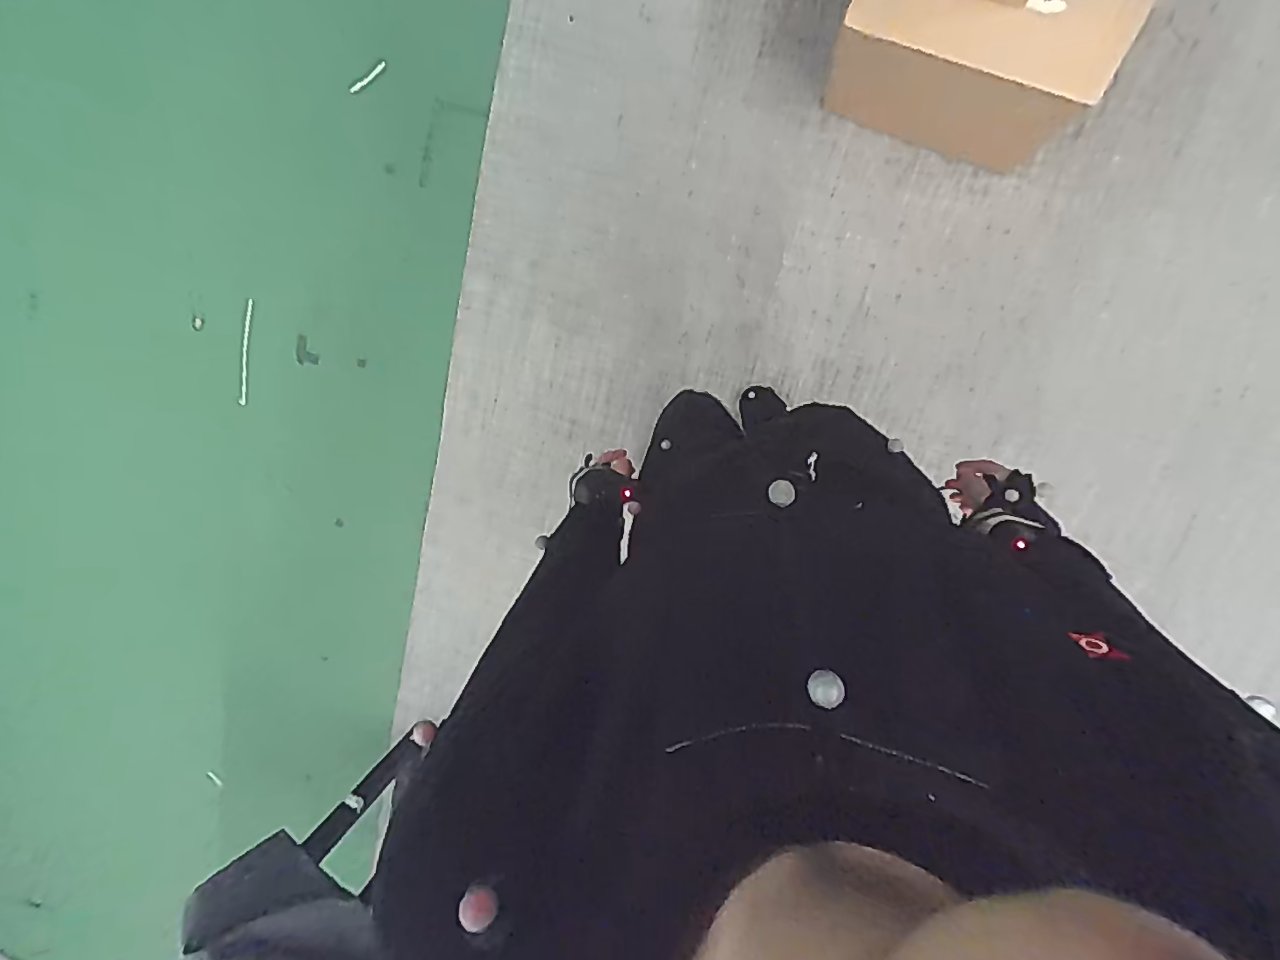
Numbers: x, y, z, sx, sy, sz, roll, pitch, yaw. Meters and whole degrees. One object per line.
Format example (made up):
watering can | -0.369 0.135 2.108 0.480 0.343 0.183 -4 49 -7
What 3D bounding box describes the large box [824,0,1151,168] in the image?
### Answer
large box | 0.583 -0.805 0.932 0.408 0.320 0.320 23 107 6
